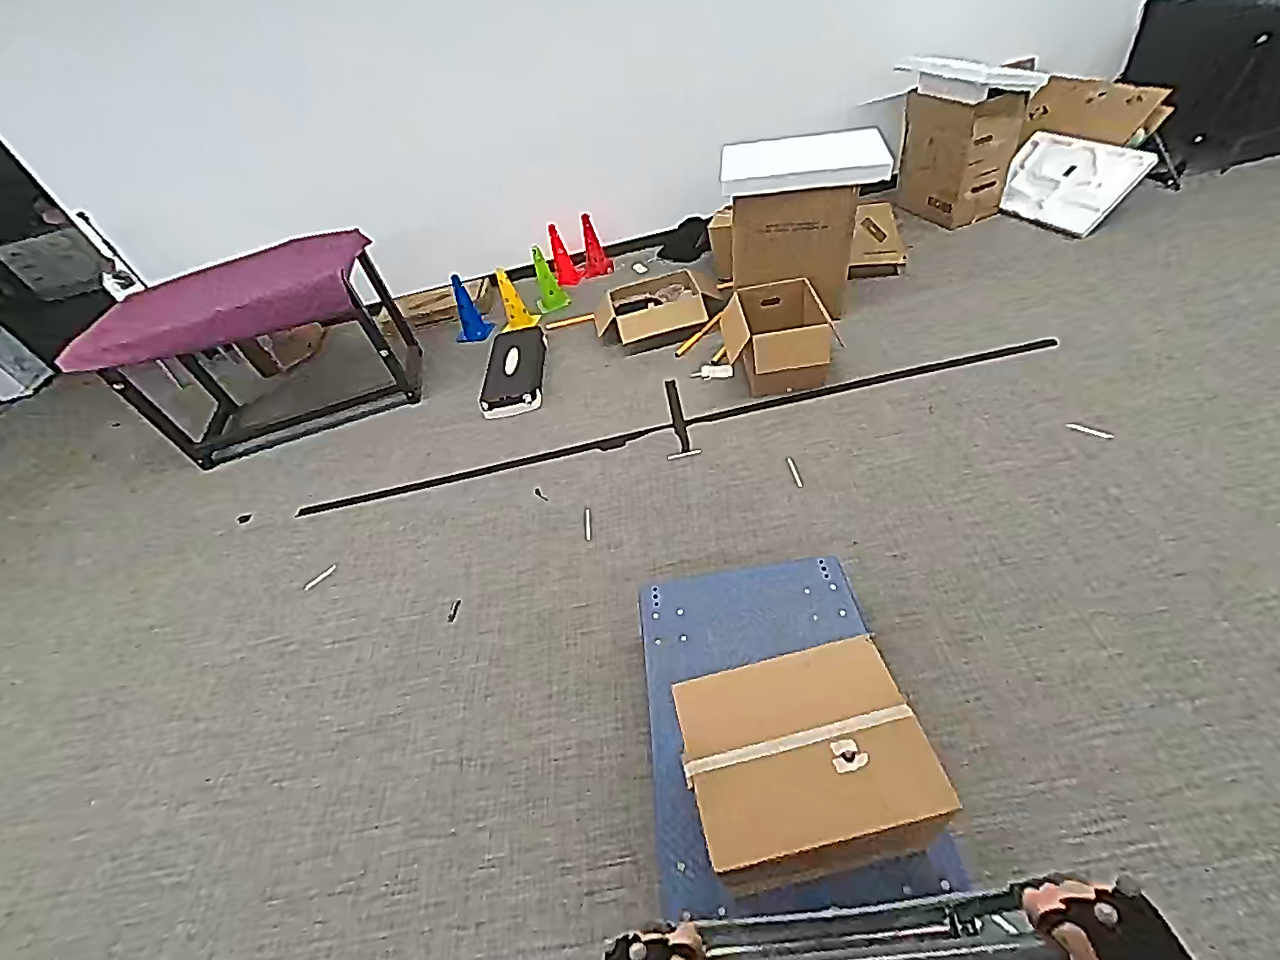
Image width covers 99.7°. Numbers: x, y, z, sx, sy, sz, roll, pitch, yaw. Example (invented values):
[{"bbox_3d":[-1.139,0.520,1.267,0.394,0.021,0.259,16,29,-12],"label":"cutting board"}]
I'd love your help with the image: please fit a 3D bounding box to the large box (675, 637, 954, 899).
[{"bbox_3d":[0.311,0.570,1.069,0.408,0.320,0.320,-15,45,-1],"label":"large box"}]
